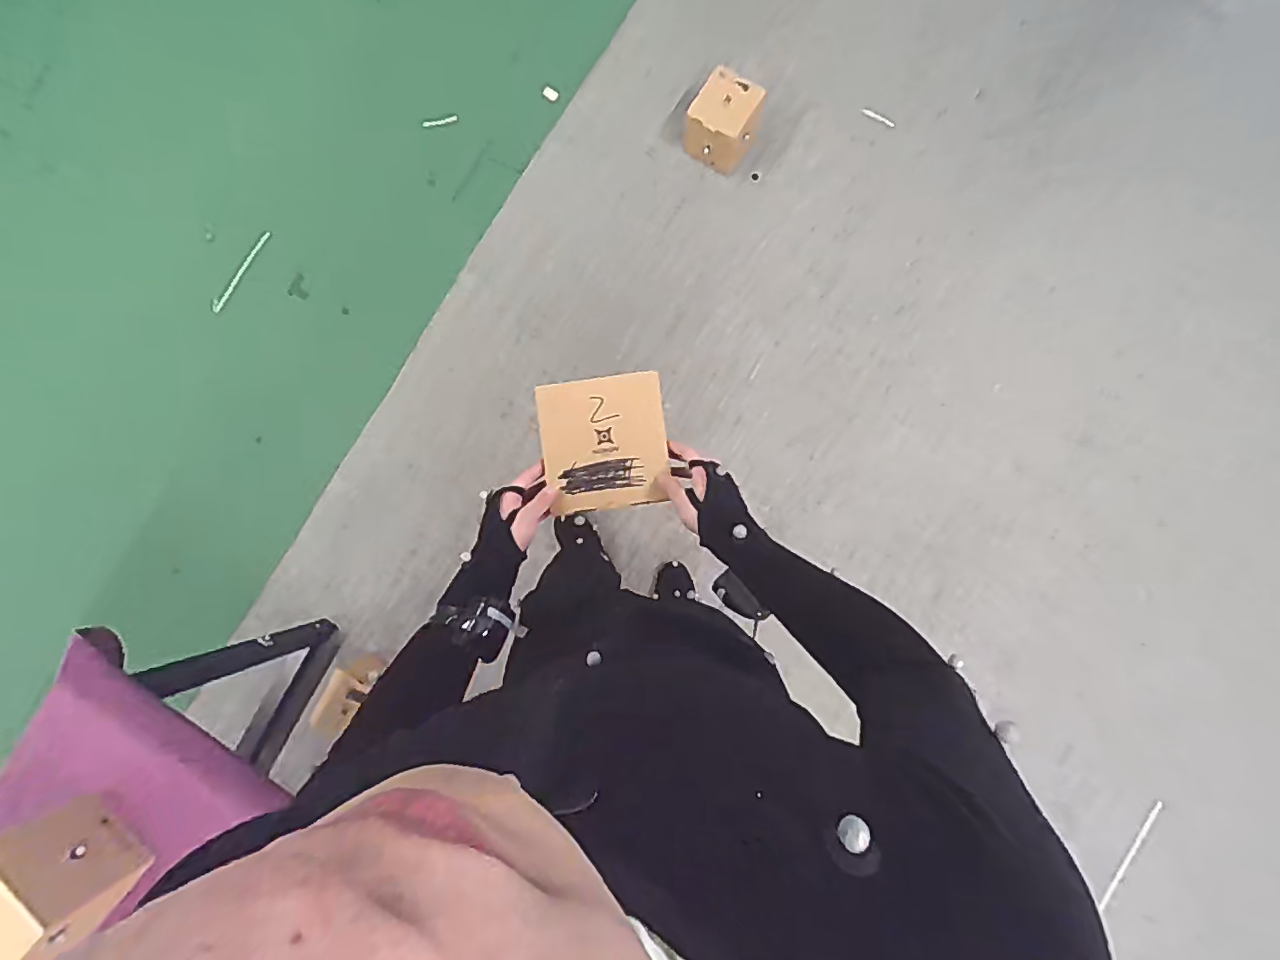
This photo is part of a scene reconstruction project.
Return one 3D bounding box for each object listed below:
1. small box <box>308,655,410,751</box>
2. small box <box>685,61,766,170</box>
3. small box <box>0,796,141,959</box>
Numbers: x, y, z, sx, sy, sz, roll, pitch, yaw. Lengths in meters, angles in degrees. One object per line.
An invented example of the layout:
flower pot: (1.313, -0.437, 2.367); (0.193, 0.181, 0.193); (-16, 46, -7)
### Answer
small box: (-0.800, 0.633, 1.565); (0.168, 0.176, 0.179); (28, 89, 6)
small box: (0.250, -1.069, 1.603); (0.168, 0.176, 0.179); (33, 89, 6)
small box: (-0.948, 0.646, 0.845); (0.168, 0.176, 0.179); (41, 90, 6)
